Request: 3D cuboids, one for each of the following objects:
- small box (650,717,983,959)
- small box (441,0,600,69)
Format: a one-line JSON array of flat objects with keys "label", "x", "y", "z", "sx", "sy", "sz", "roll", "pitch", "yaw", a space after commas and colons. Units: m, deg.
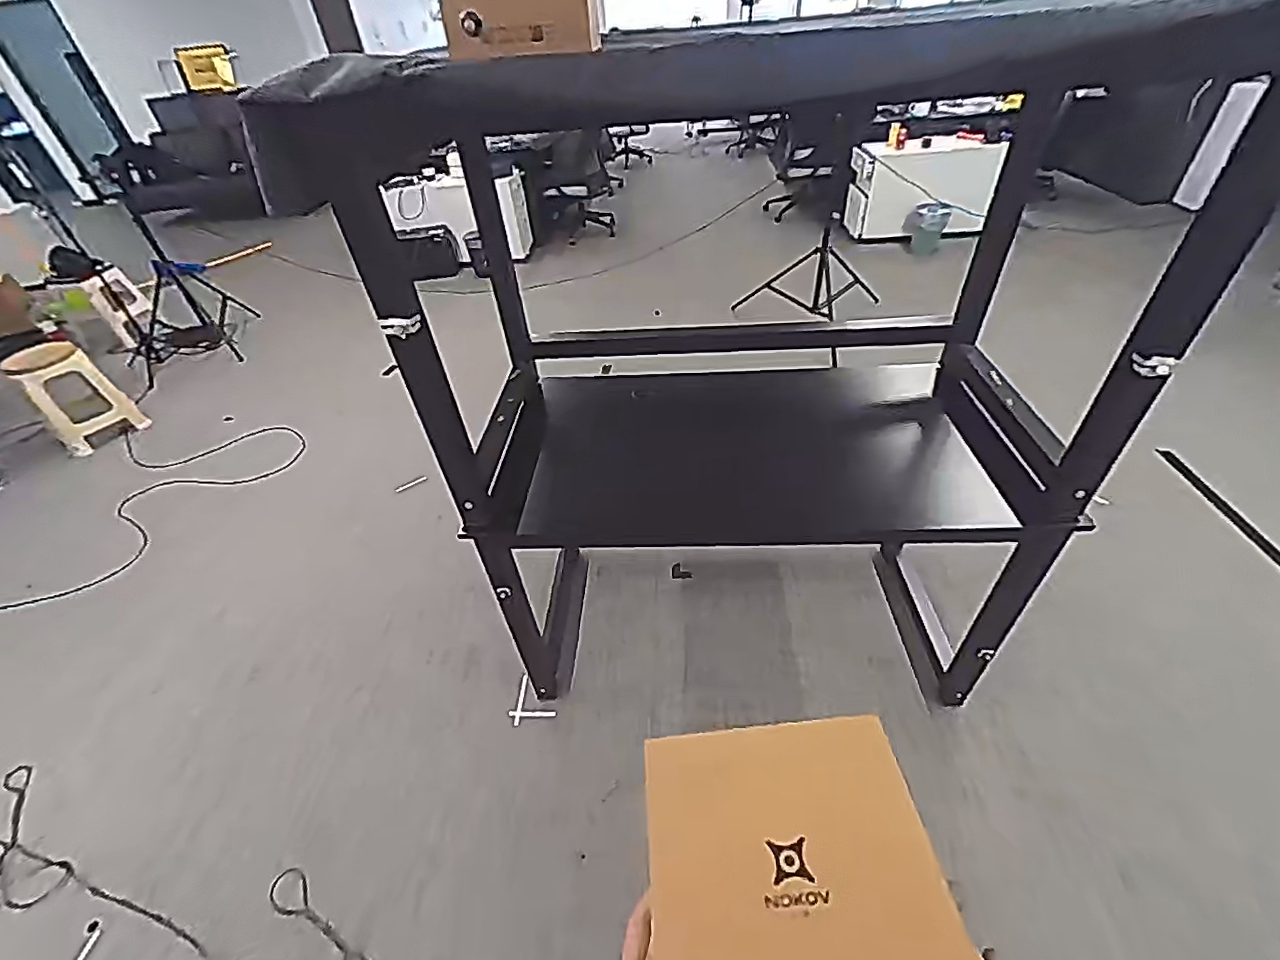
[{"label": "small box", "x": 0.099, "y": 0.289, "z": 0.355, "sx": 0.168, "sy": 0.176, "sz": 0.179, "roll": -8, "pitch": 35, "yaw": 3}, {"label": "small box", "x": -0.140, "y": -0.595, "z": 0.634, "sx": 0.168, "sy": 0.176, "sz": 0.179, "roll": -2, "pitch": 39, "yaw": 2}]
